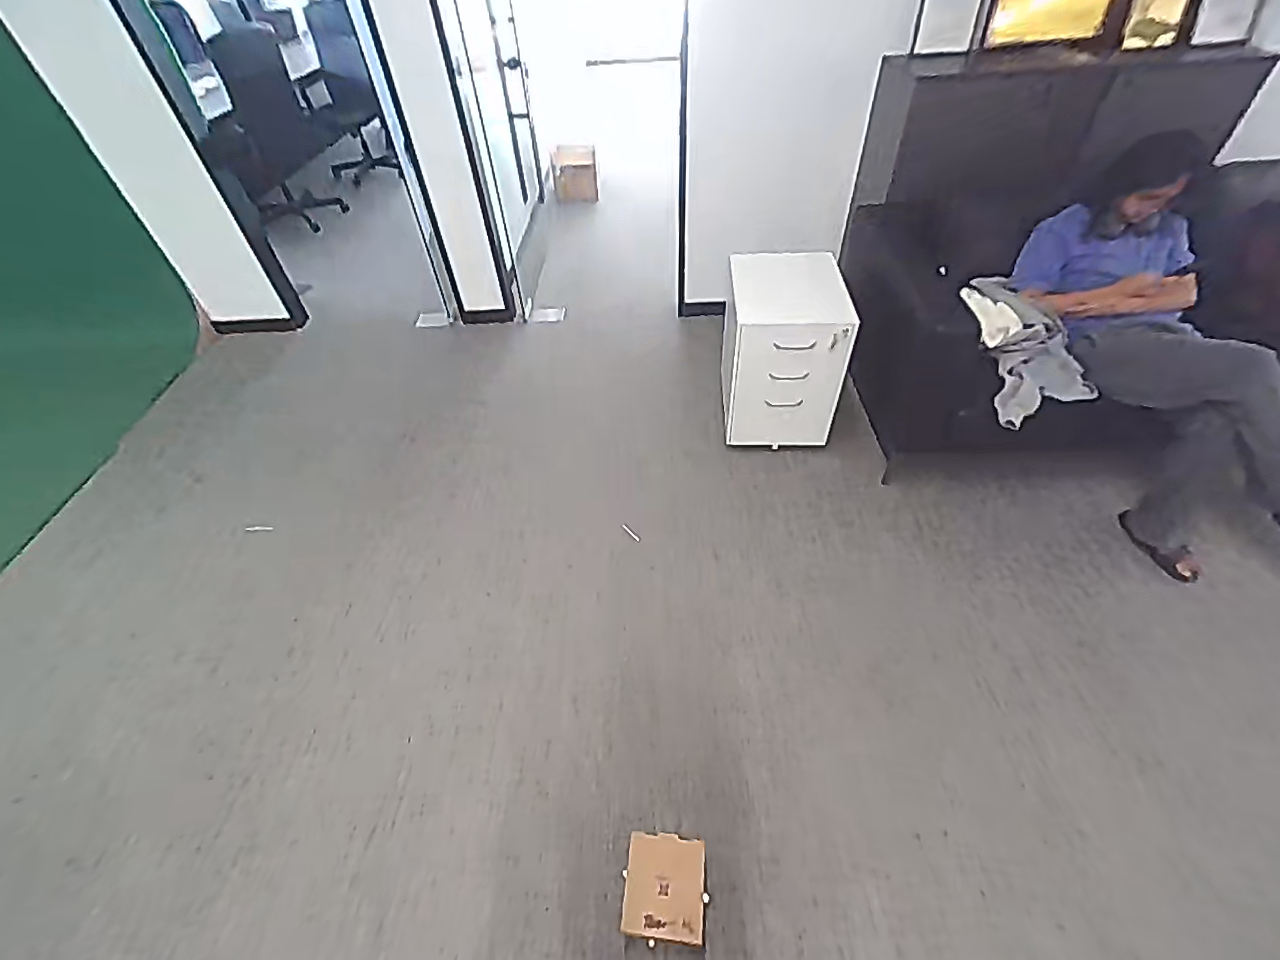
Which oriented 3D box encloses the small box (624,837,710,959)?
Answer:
[{"bbox_3d":[0.061,0.912,1.180,0.168,0.176,0.179,4,45,6],"label":"small box"}]
